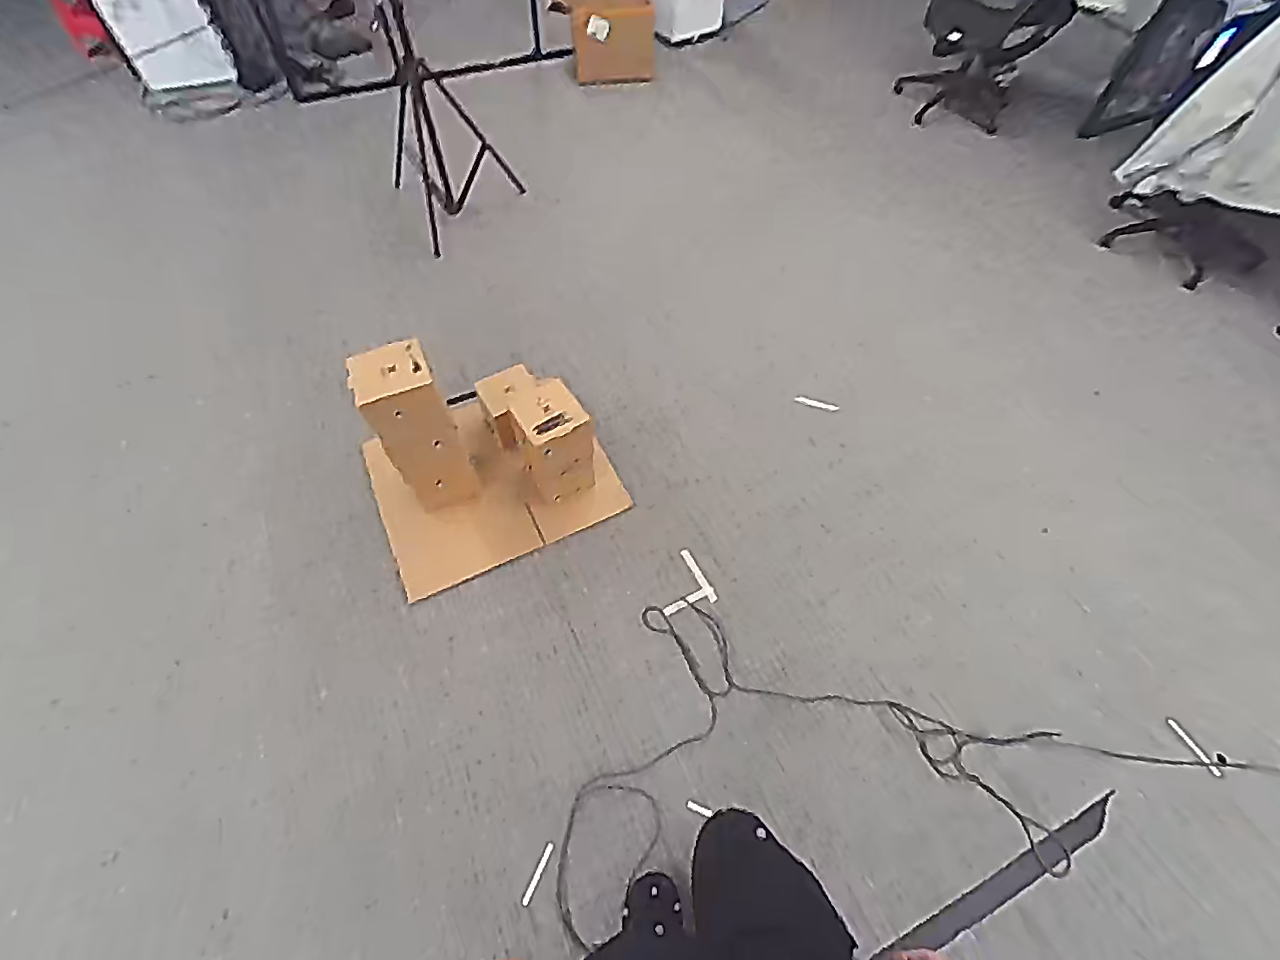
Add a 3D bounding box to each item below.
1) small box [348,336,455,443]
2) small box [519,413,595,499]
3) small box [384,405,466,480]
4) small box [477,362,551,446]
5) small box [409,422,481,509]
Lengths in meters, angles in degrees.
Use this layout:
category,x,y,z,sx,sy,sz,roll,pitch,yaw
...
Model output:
category,x,y,z,sx,sy,sz,roll,pitch,yaw
small box,-0.585,-0.219,1.339,0.179,0.176,0.168,-22,62,-12
small box,-0.245,-0.063,1.637,0.168,0.176,0.179,-27,62,-17
small box,-0.588,-0.128,1.476,0.179,0.176,0.168,-19,60,-12
small box,-0.400,-0.242,1.748,0.179,0.176,0.168,-27,61,-16
small box,-0.588,-0.041,1.615,0.179,0.176,0.168,-20,61,-12
